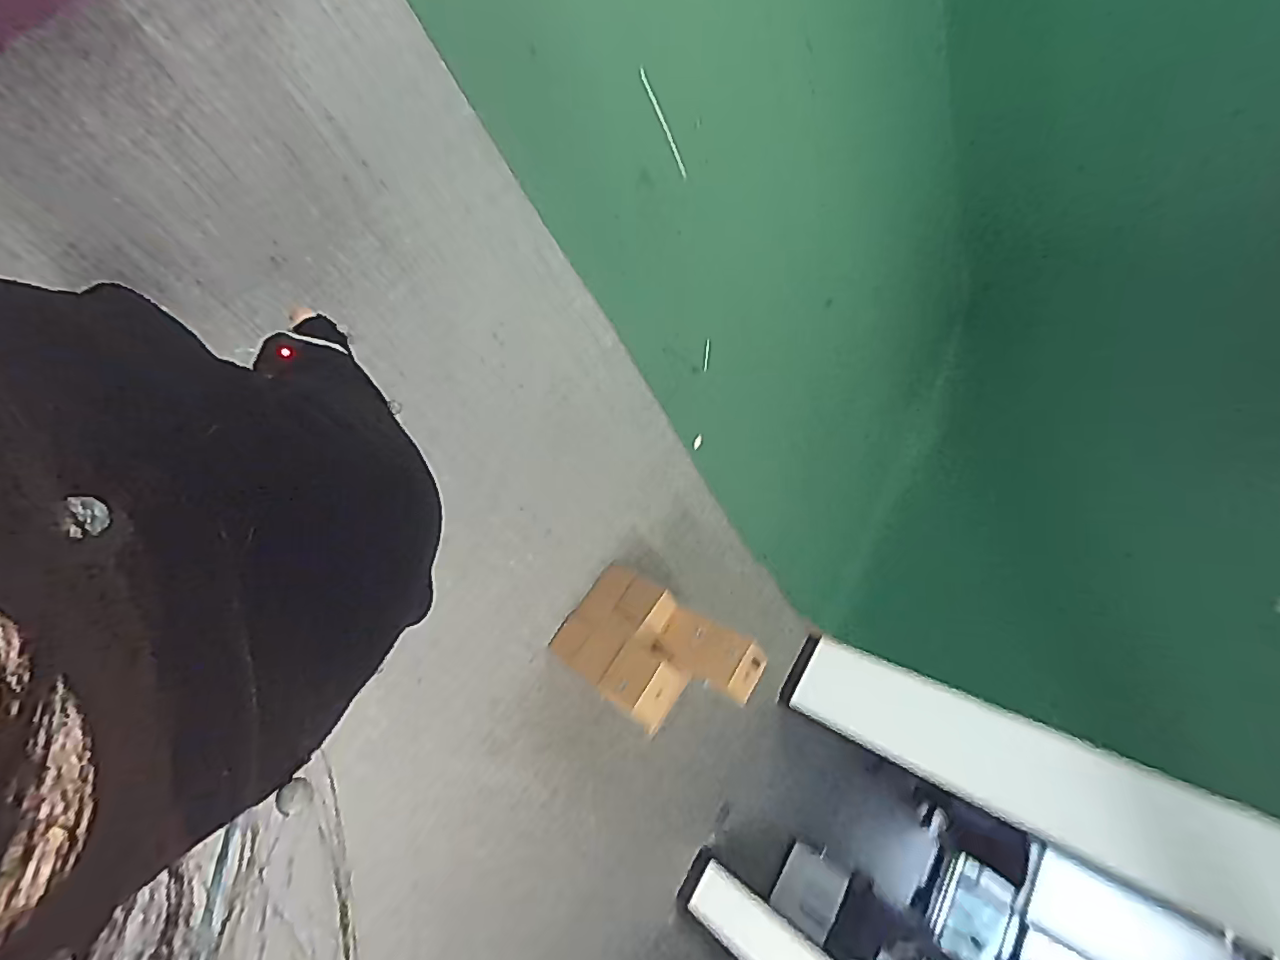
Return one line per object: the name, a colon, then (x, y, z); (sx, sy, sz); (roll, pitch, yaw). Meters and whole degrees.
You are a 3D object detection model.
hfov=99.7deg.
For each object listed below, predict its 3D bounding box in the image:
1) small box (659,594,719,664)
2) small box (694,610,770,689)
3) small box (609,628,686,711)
small box: (0.202, 0.543, 1.975); (0.168, 0.176, 0.179); (-53, 134, -21)
small box: (0.315, 0.577, 1.859); (0.179, 0.176, 0.168); (-53, 133, -21)
small box: (0.019, 0.631, 1.813); (0.179, 0.176, 0.168); (-54, 134, -20)
